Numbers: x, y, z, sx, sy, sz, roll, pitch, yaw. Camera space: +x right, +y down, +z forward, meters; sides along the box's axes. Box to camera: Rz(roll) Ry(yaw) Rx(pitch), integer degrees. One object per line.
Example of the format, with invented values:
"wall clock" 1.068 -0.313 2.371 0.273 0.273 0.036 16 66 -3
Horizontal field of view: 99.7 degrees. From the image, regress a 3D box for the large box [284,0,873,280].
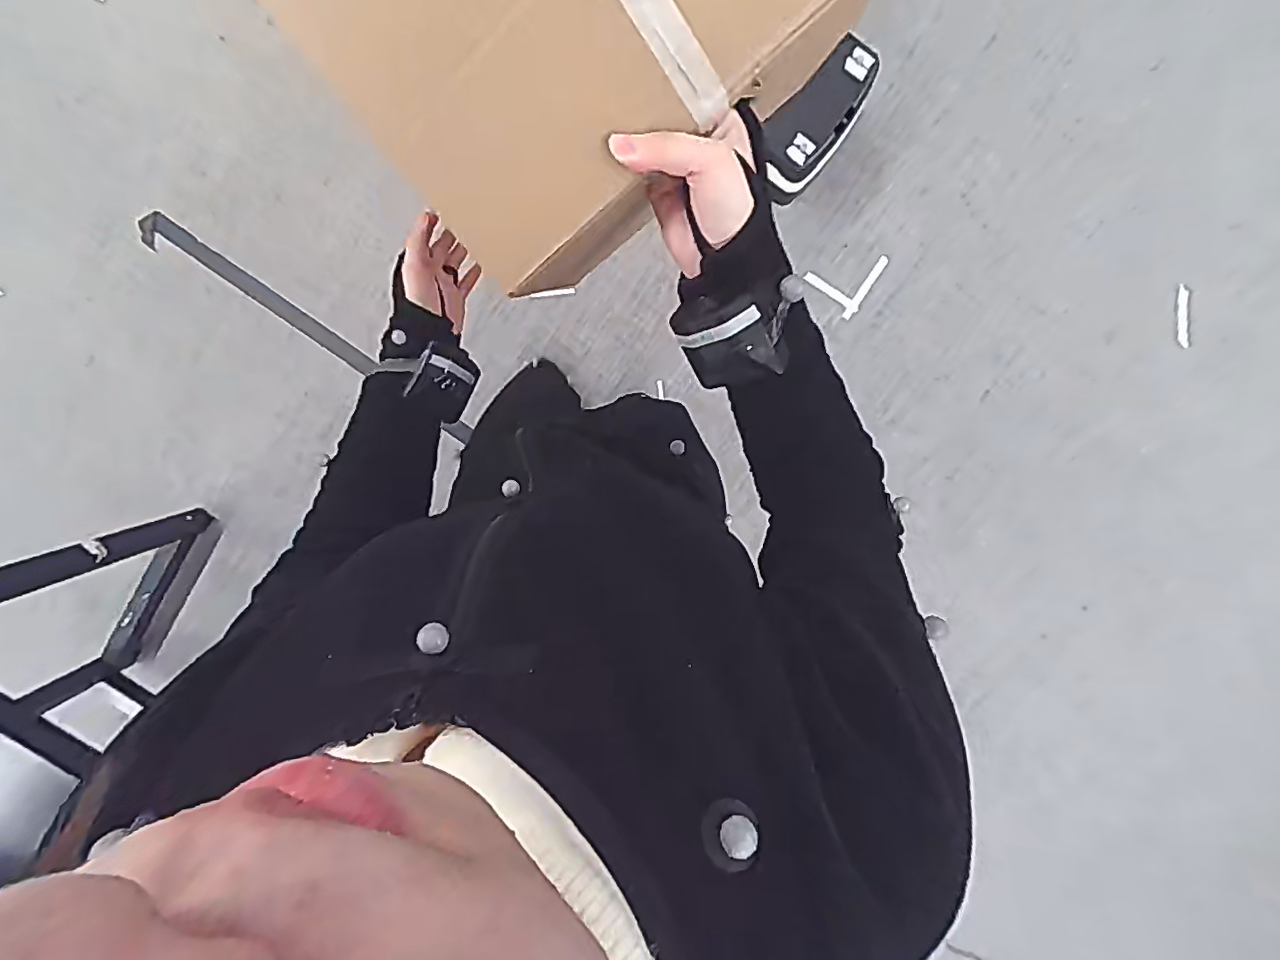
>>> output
"large box" -0.069 -0.408 0.389 0.320 0.320 0.408 -36 105 15
